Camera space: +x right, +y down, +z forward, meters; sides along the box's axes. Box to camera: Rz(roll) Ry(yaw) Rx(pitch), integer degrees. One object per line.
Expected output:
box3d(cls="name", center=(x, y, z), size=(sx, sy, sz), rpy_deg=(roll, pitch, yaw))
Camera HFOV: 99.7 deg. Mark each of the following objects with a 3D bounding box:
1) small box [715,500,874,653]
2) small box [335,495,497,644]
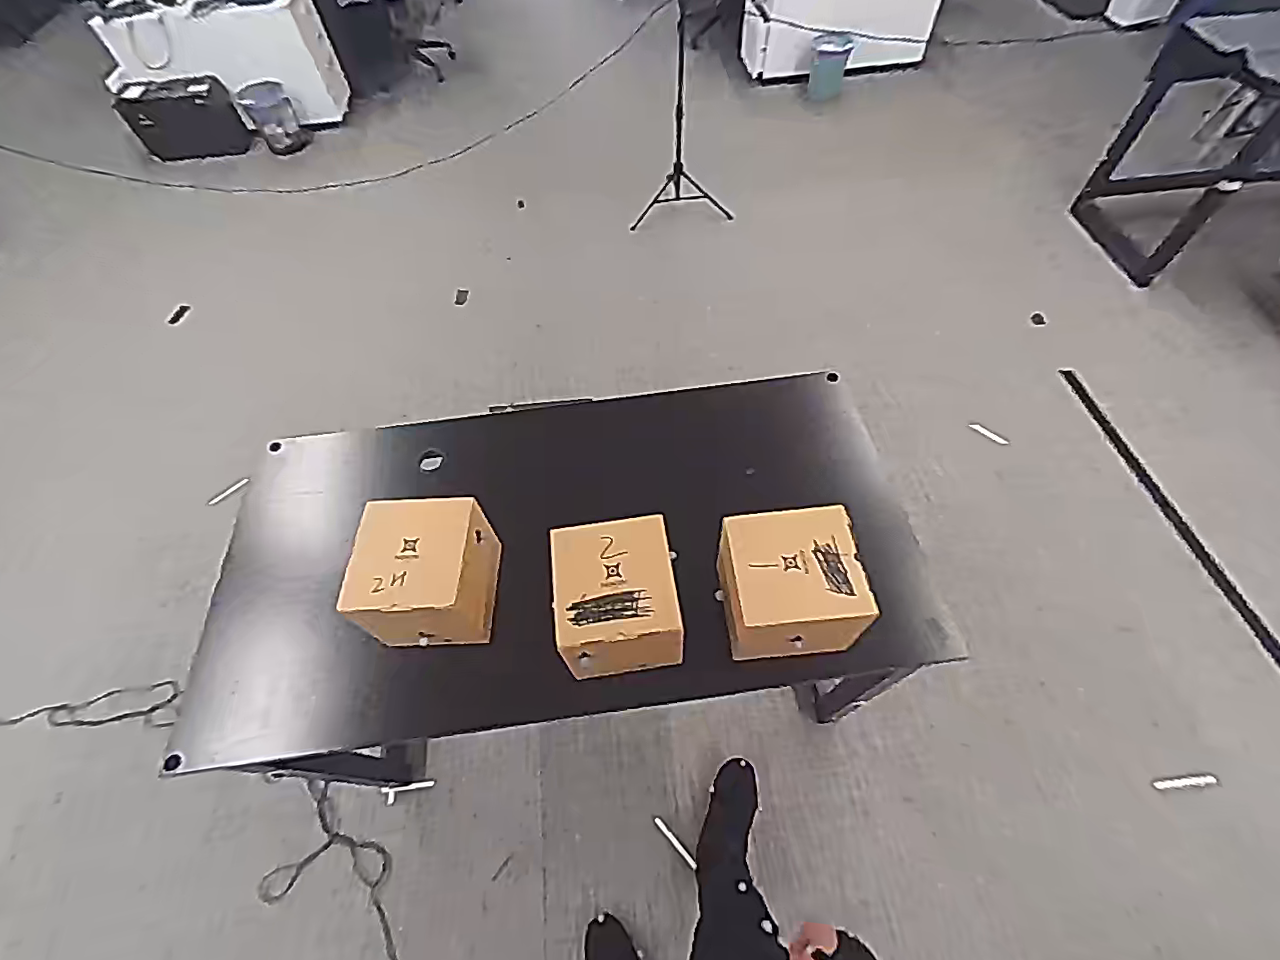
box3d(cls="small box", center=(0.214, 0.148, 0.802), size=(0.179, 0.176, 0.168), rpy_deg=(-6, 57, 1))
box3d(cls="small box", center=(-0.328, 0.141, 0.837), size=(0.168, 0.176, 0.179), rpy_deg=(-3, 58, 2))
